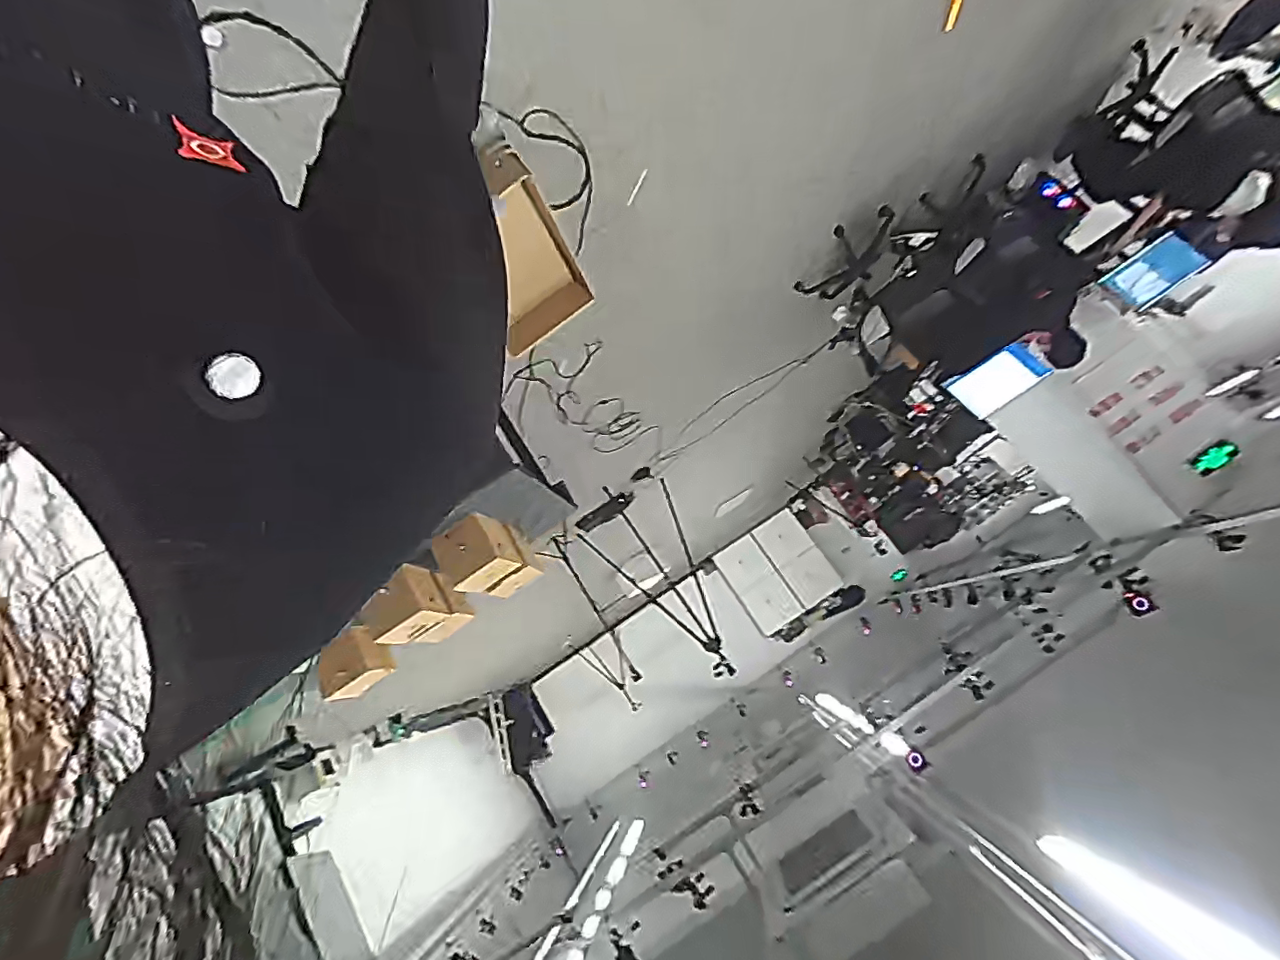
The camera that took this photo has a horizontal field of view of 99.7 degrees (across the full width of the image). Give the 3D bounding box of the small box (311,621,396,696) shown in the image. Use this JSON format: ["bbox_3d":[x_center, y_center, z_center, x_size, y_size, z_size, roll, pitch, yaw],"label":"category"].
[{"bbox_3d":[-0.964,0.596,1.808,0.179,0.176,0.168,-34,162,-2],"label":"small box"}]
